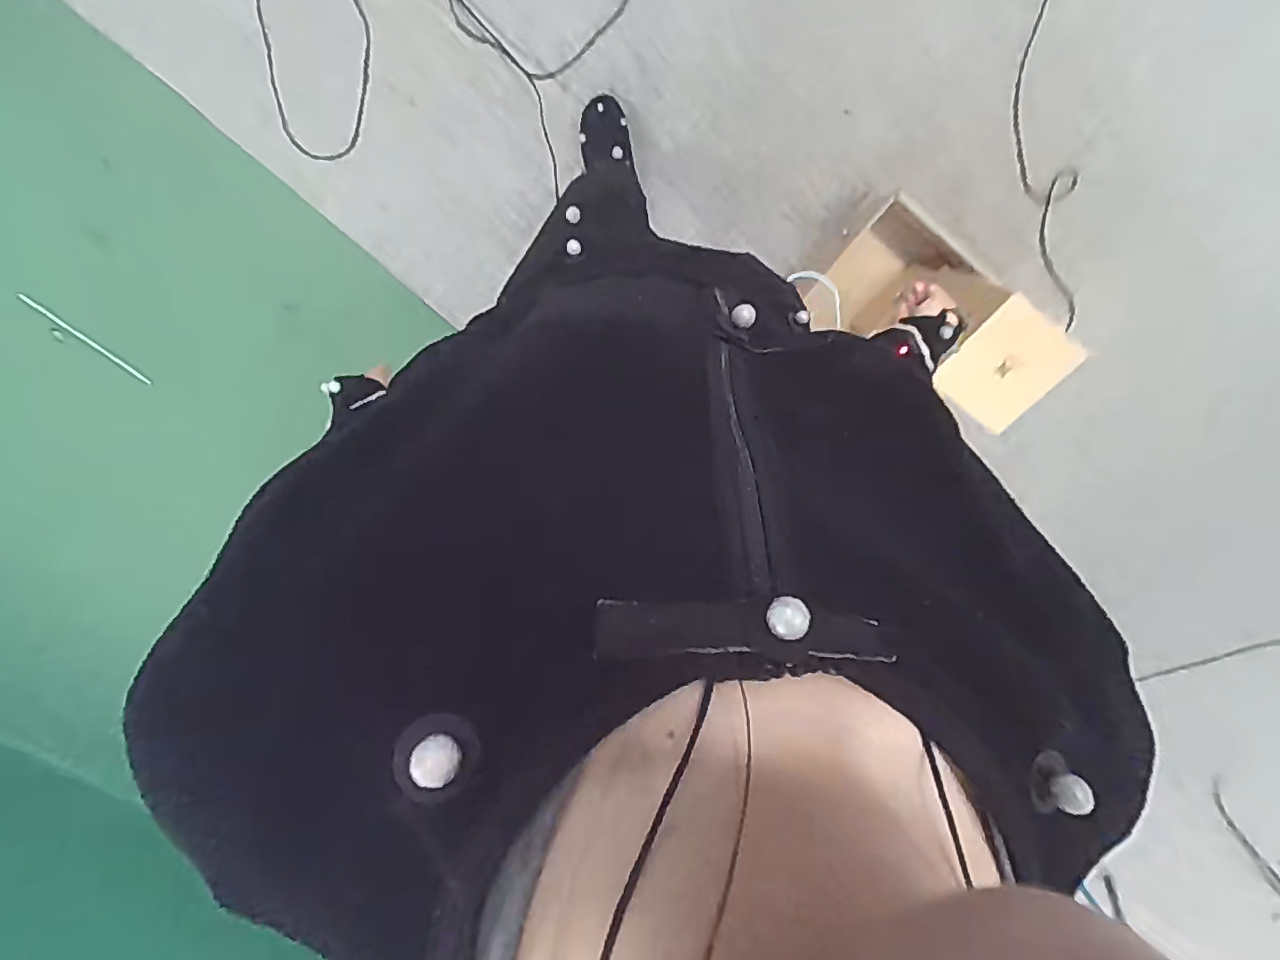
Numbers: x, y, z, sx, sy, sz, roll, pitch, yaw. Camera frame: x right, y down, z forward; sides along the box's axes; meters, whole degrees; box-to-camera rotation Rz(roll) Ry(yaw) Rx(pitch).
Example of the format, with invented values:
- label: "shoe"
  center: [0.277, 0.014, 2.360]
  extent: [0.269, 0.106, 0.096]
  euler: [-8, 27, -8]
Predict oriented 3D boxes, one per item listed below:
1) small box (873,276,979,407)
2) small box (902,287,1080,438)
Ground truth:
- label: "small box"
  center: [0.604, -0.284, 1.082]
  extent: [0.168, 0.176, 0.179]
  euler: [39, 115, -12]
- label: "small box"
  center: [0.587, -0.210, 0.939]
  extent: [0.168, 0.176, 0.179]
  euler: [34, 114, -10]
